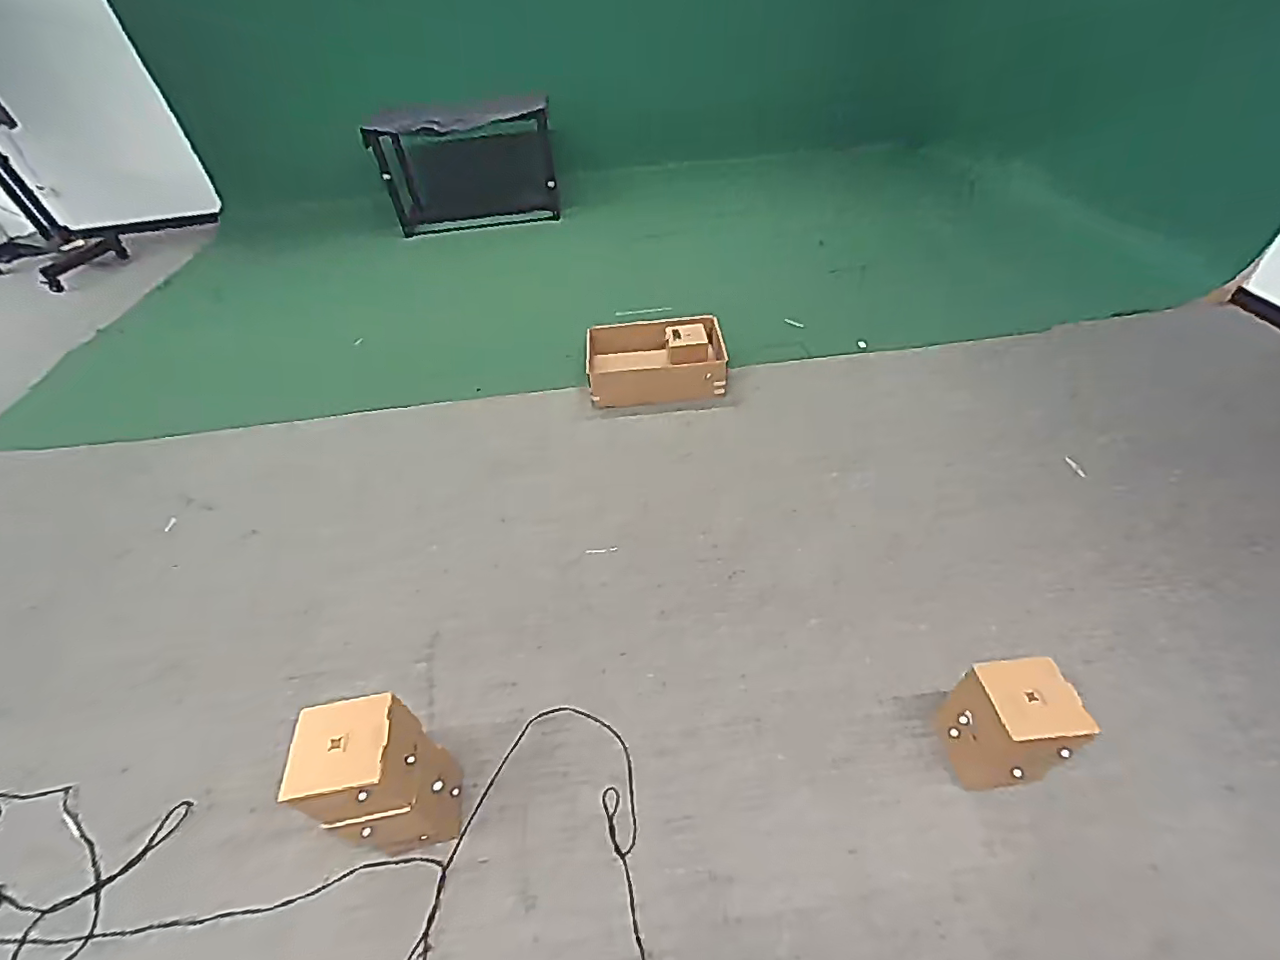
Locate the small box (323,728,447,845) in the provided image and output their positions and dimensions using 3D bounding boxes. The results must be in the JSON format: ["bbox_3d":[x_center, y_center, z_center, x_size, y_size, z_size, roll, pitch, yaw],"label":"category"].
[{"bbox_3d":[-0.537,0.661,1.164,0.179,0.176,0.168,-9,45,-4],"label":"small box"}]

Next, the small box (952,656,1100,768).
[{"bbox_3d":[0.822,0.505,1.174,0.179,0.176,0.168,-7,44,1],"label":"small box"}]

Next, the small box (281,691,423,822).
[{"bbox_3d":[-0.546,0.542,1.054,0.179,0.176,0.168,-10,45,-5],"label":"small box"}]

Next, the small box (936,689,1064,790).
[{"bbox_3d":[0.844,0.614,1.293,0.168,0.176,0.179,-6,45,0],"label":"small box"}]

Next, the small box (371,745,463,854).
[{"bbox_3d":[-0.531,0.764,1.292,0.179,0.176,0.168,-13,45,-6],"label":"small box"}]
